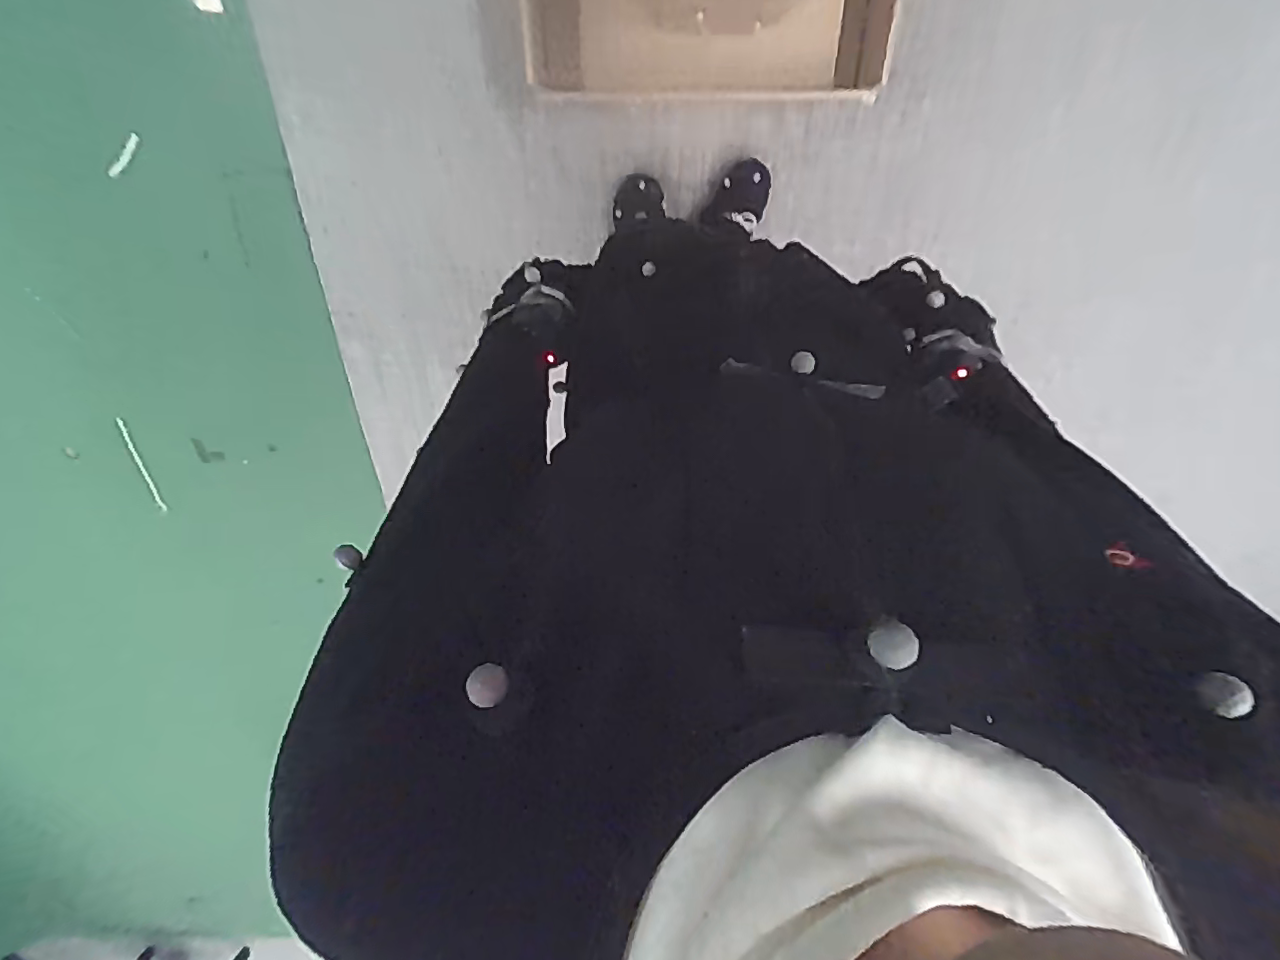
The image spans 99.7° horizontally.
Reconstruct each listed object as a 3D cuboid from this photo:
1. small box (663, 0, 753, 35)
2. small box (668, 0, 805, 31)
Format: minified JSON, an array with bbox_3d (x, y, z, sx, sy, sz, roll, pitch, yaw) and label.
[{"bbox_3d":[0.126,-0.860,0.896,0.179,0.176,0.168,-2,121,1],"label":"small box"},{"bbox_3d":[0.131,-0.748,0.752,0.179,0.176,0.168,-3,122,2],"label":"small box"}]
